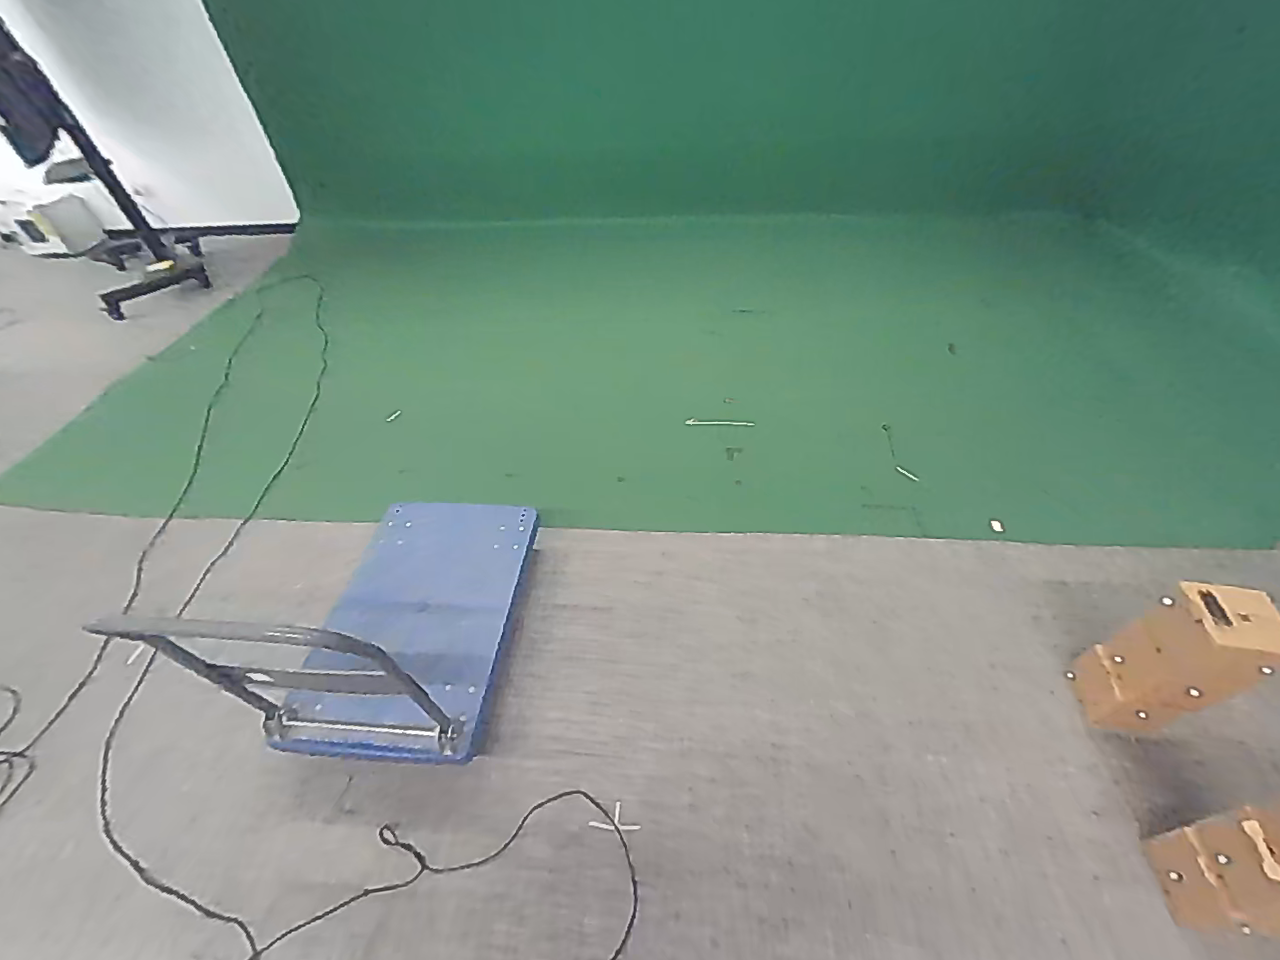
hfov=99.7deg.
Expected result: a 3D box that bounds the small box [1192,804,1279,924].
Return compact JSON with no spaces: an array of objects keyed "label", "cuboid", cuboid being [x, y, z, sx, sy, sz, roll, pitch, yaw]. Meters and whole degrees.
[{"label":"small box","cuboid":[1.304,0.786,1.095,0.179,0.176,0.168,6,46,10]}]

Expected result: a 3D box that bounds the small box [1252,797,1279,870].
[{"label":"small box","cuboid":[1.294,0.677,0.973,0.168,0.176,0.179,6,46,10]}]

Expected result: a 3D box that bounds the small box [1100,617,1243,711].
[{"label":"small box","cuboid":[1.354,0.479,1.394,0.179,0.176,0.168,5,47,9]}]

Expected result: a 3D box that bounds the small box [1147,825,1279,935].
[{"label":"small box","cuboid":[1.303,0.900,1.213,0.179,0.176,0.168,3,46,8]}]

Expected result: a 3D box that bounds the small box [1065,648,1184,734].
[{"label":"small box","cuboid":[1.349,0.599,1.528,0.179,0.176,0.168,6,47,8]}]
